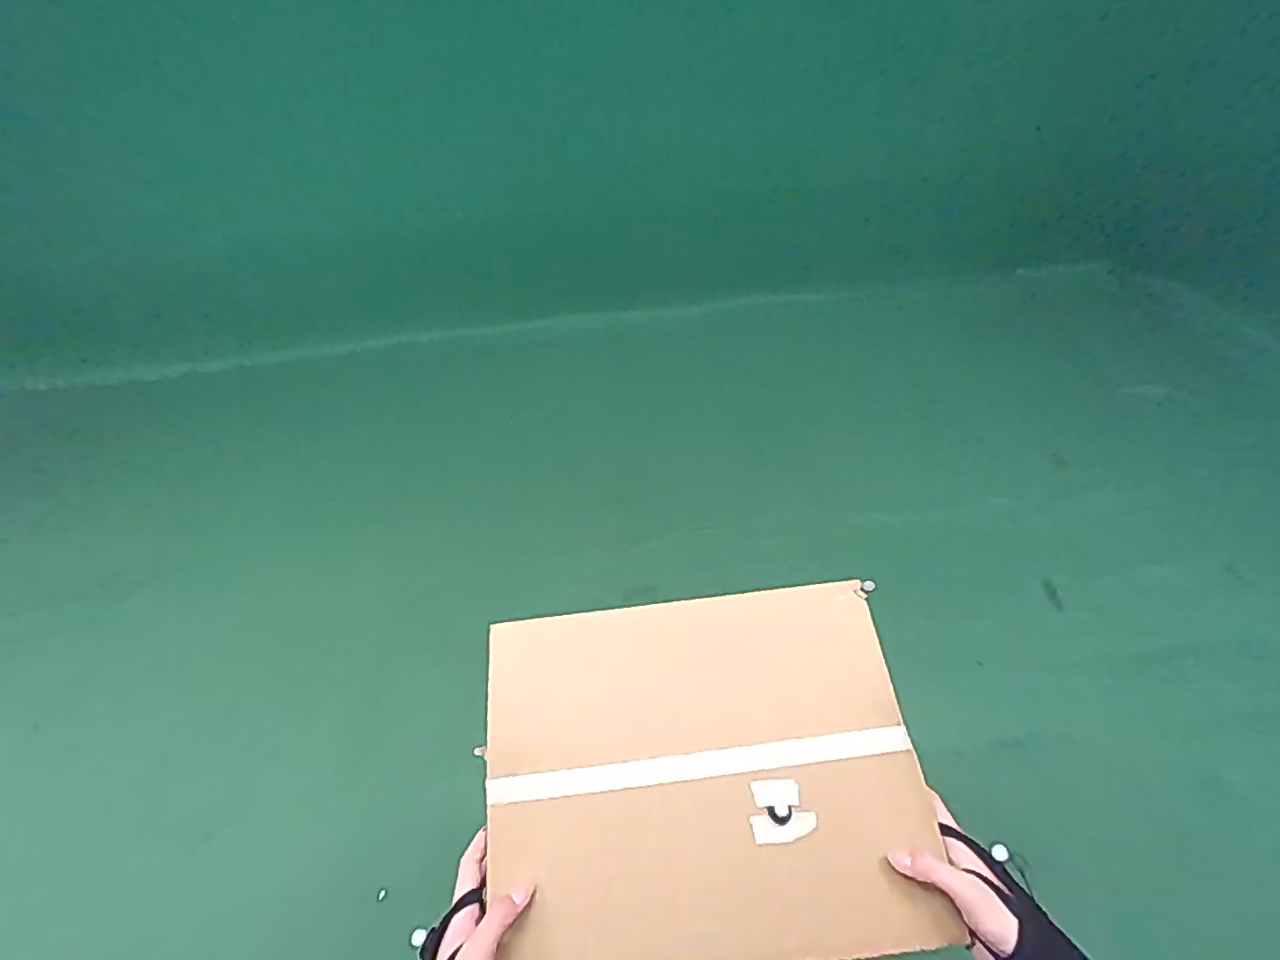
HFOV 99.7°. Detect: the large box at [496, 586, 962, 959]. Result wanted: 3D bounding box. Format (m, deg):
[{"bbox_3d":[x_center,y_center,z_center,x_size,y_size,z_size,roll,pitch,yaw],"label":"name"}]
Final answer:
[{"bbox_3d":[0.064,0.347,0.653,0.408,0.320,0.320,-7,63,-2],"label":"large box"}]
